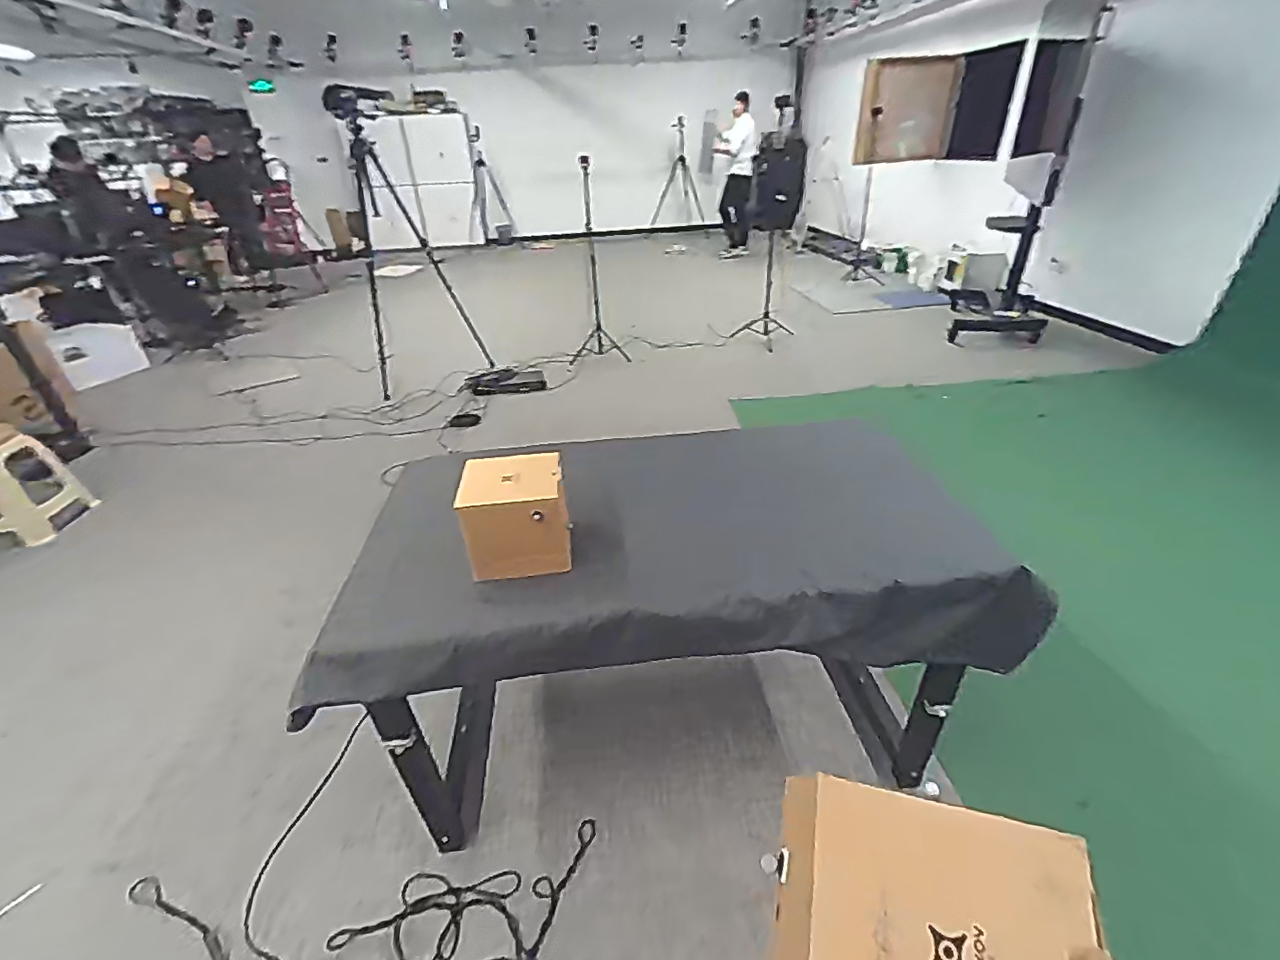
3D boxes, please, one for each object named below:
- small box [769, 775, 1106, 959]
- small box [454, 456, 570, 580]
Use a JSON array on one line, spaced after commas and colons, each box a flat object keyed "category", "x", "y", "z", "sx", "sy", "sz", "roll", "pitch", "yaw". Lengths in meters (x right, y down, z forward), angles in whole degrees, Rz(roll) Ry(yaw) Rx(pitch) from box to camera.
[{"category": "small box", "x": 0.201, "y": 0.332, "z": 0.402, "sx": 0.179, "sy": 0.176, "sz": 0.168, "roll": 8, "pitch": 60, "yaw": 11}, {"category": "small box", "x": -0.230, "y": 0.072, "z": 1.015, "sx": 0.179, "sy": 0.176, "sz": 0.168, "roll": -6, "pitch": 31, "yaw": -5}]
